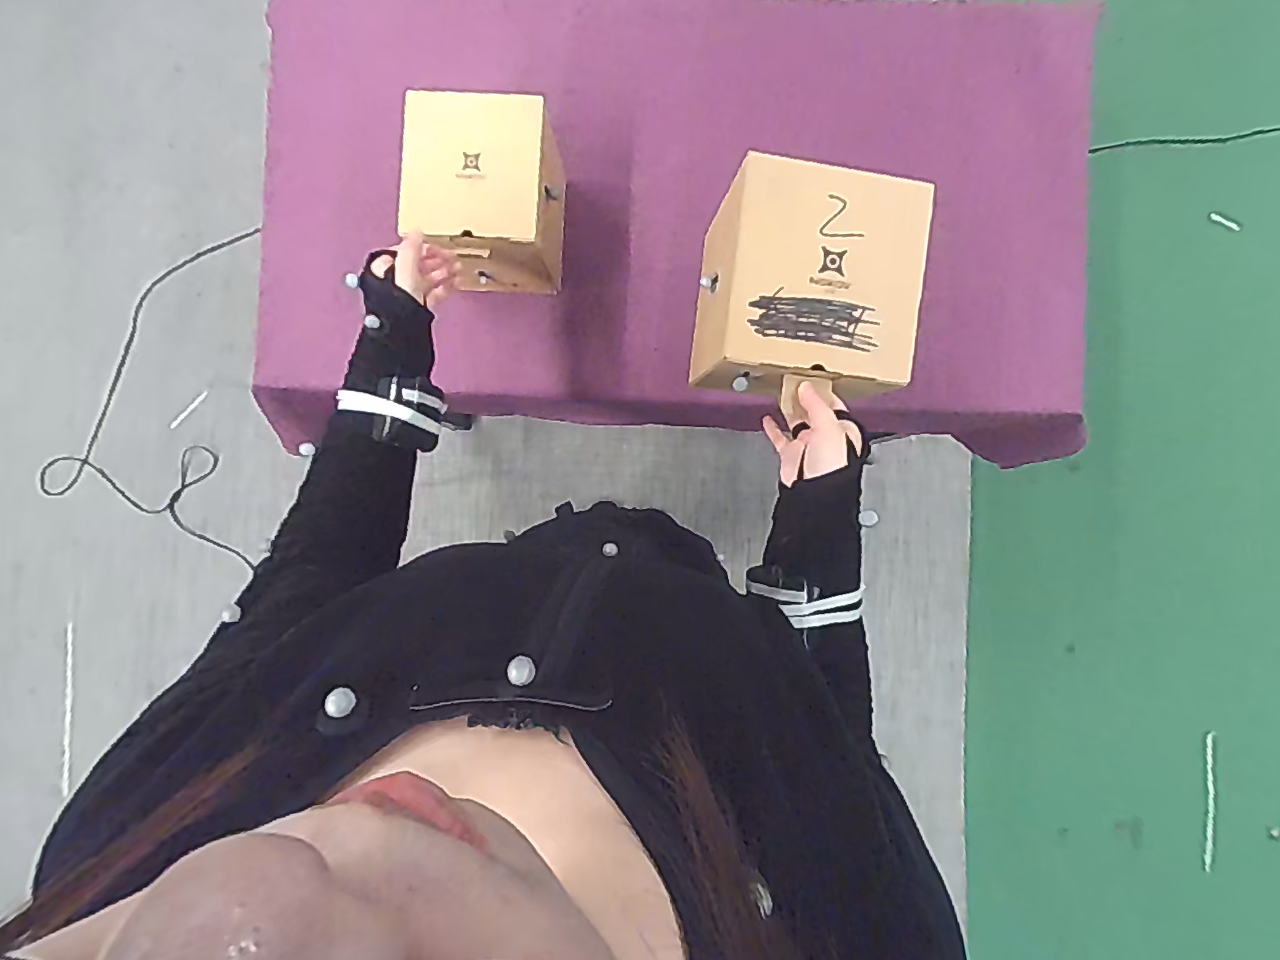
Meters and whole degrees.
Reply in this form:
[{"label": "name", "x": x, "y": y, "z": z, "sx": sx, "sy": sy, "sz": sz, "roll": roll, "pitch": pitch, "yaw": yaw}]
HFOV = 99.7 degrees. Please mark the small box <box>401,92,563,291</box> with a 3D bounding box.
[{"label": "small box", "x": -0.200, "y": -0.376, "z": 0.730, "sx": 0.168, "sy": 0.176, "sz": 0.179, "roll": 3, "pitch": 90, "yaw": 1}]
